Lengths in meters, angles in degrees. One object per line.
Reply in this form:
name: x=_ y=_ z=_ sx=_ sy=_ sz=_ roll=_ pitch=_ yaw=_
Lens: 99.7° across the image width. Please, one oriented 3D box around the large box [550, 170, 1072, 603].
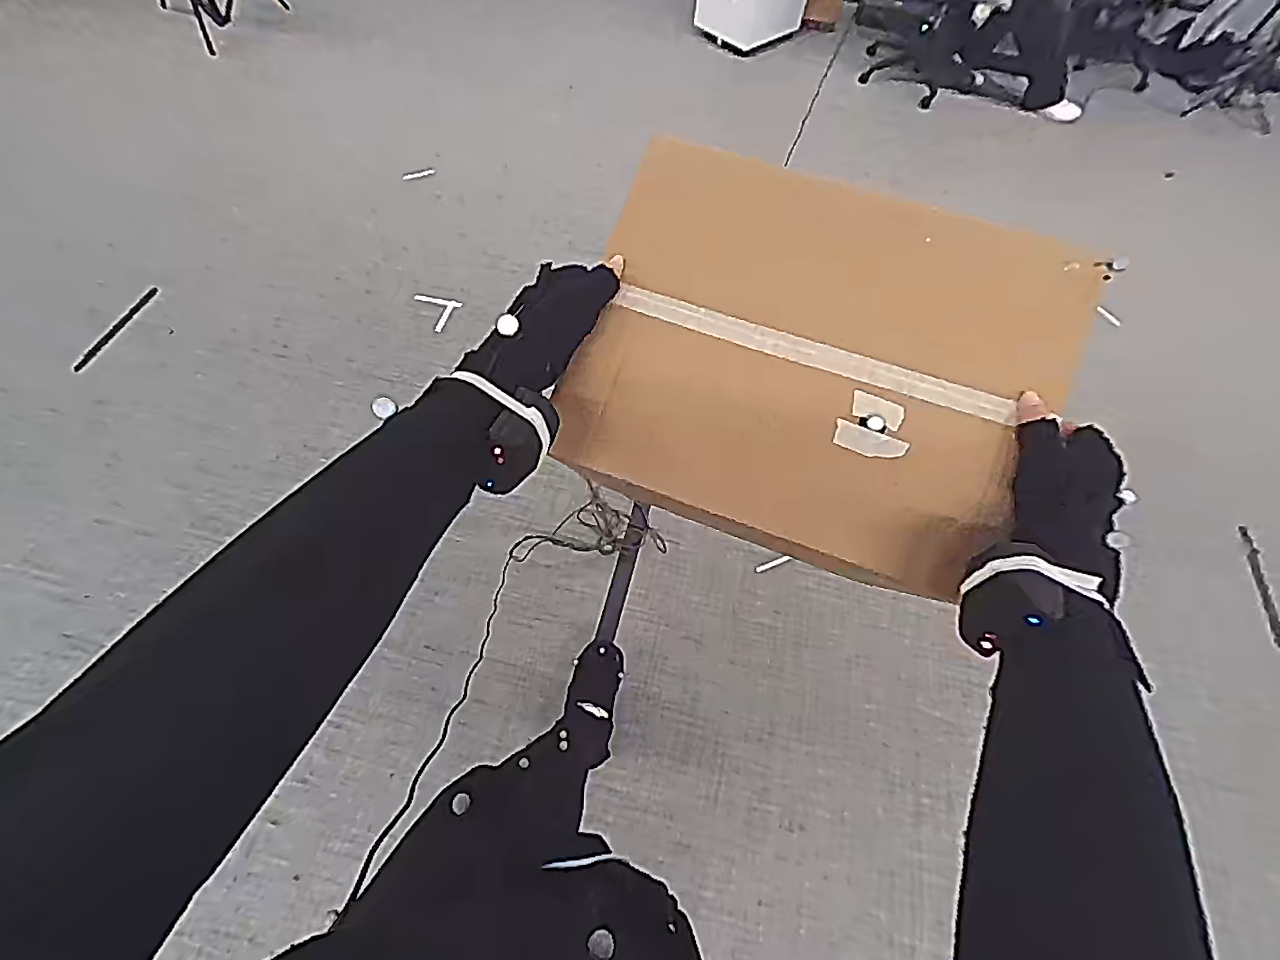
large box: x=0.160 y=-0.083 z=0.636 sx=0.408 sy=0.320 sz=0.320 roll=19 pitch=87 yaw=7
